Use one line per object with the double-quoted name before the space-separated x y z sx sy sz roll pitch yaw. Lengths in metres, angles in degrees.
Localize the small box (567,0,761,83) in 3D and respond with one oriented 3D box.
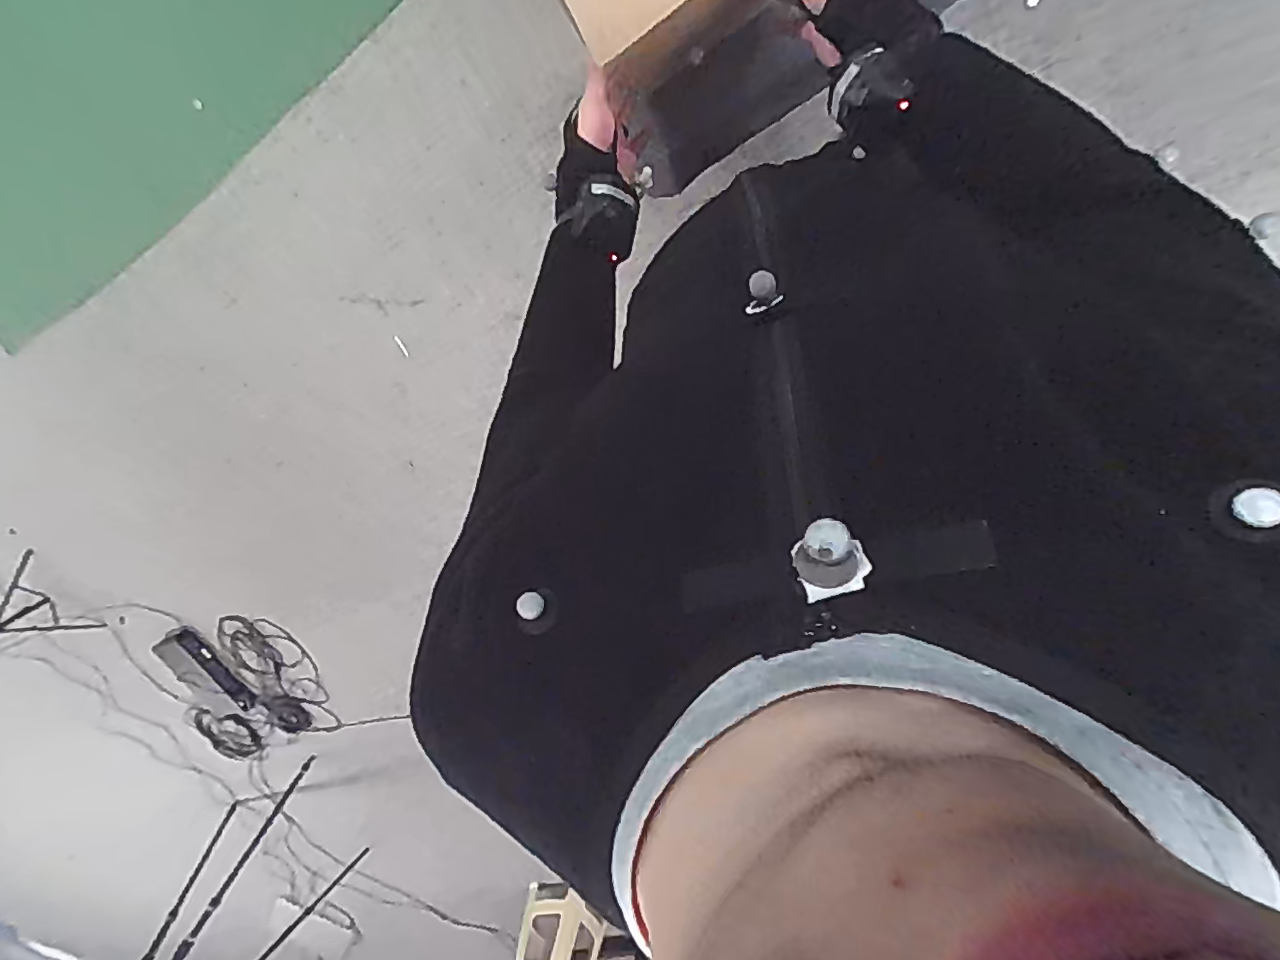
"small box" 0.007 -0.497 0.477 0.168 0.176 0.179 -20 112 22
